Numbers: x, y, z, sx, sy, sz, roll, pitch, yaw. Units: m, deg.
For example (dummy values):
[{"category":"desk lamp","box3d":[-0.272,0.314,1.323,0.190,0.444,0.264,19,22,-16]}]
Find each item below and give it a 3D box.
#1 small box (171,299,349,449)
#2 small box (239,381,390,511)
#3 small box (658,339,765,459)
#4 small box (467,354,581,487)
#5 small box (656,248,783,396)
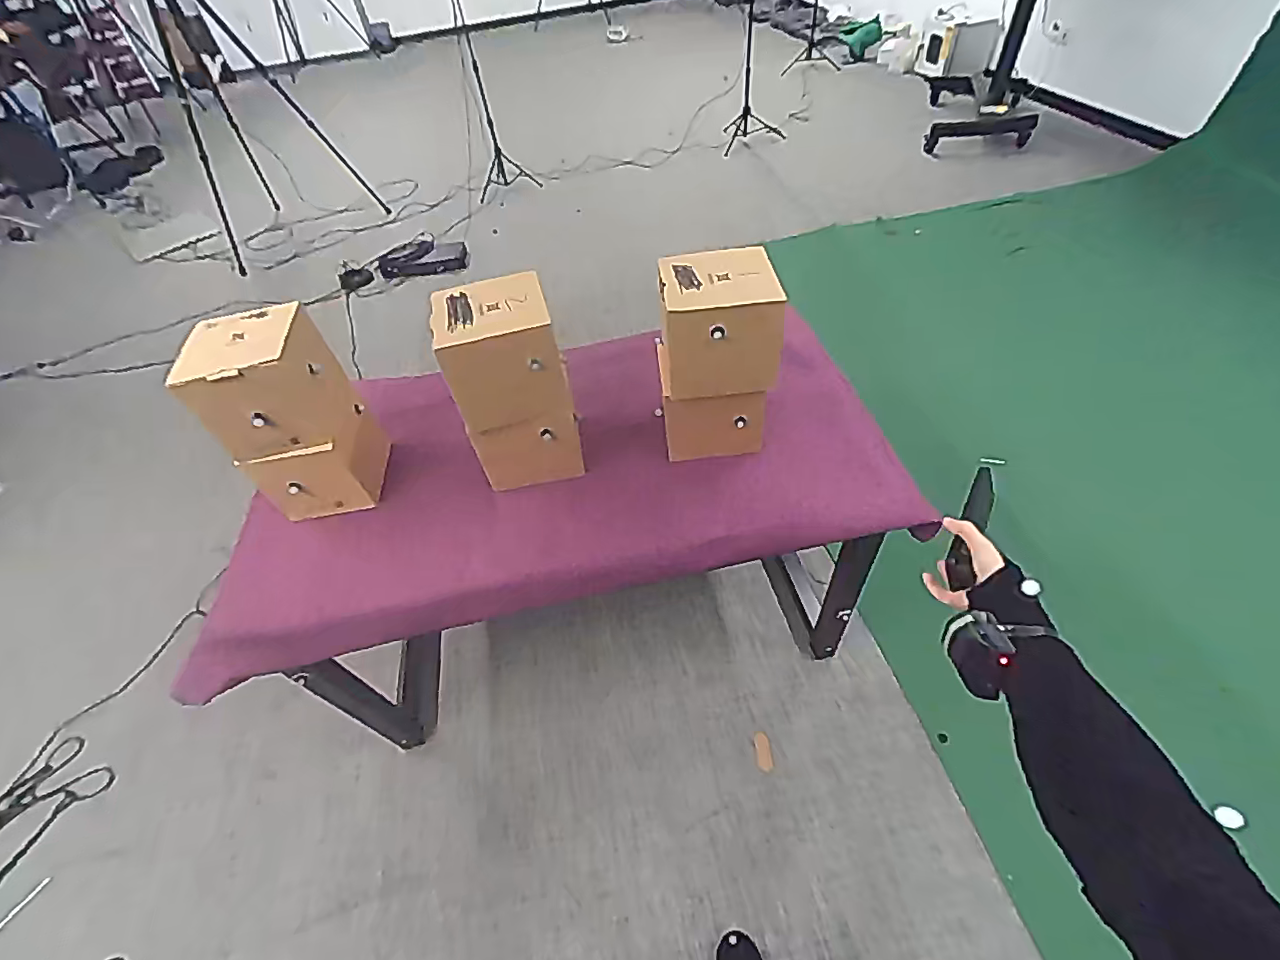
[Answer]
[{"category":"small box","box3d":[-0.613,-0.169,0.901,0.168,0.176,0.179,-13,50,-5]},{"category":"small box","box3d":[-0.597,-0.057,1.021,0.168,0.176,0.179,-9,49,-1]},{"category":"small box","box3d":[0.129,-0.156,1.017,0.179,0.176,0.168,-6,49,3]},{"category":"small box","box3d":[-0.209,-0.109,1.016,0.179,0.176,0.168,-10,49,-1]},{"category":"small box","box3d":[0.124,-0.252,0.883,0.179,0.176,0.168,-5,49,2]}]
